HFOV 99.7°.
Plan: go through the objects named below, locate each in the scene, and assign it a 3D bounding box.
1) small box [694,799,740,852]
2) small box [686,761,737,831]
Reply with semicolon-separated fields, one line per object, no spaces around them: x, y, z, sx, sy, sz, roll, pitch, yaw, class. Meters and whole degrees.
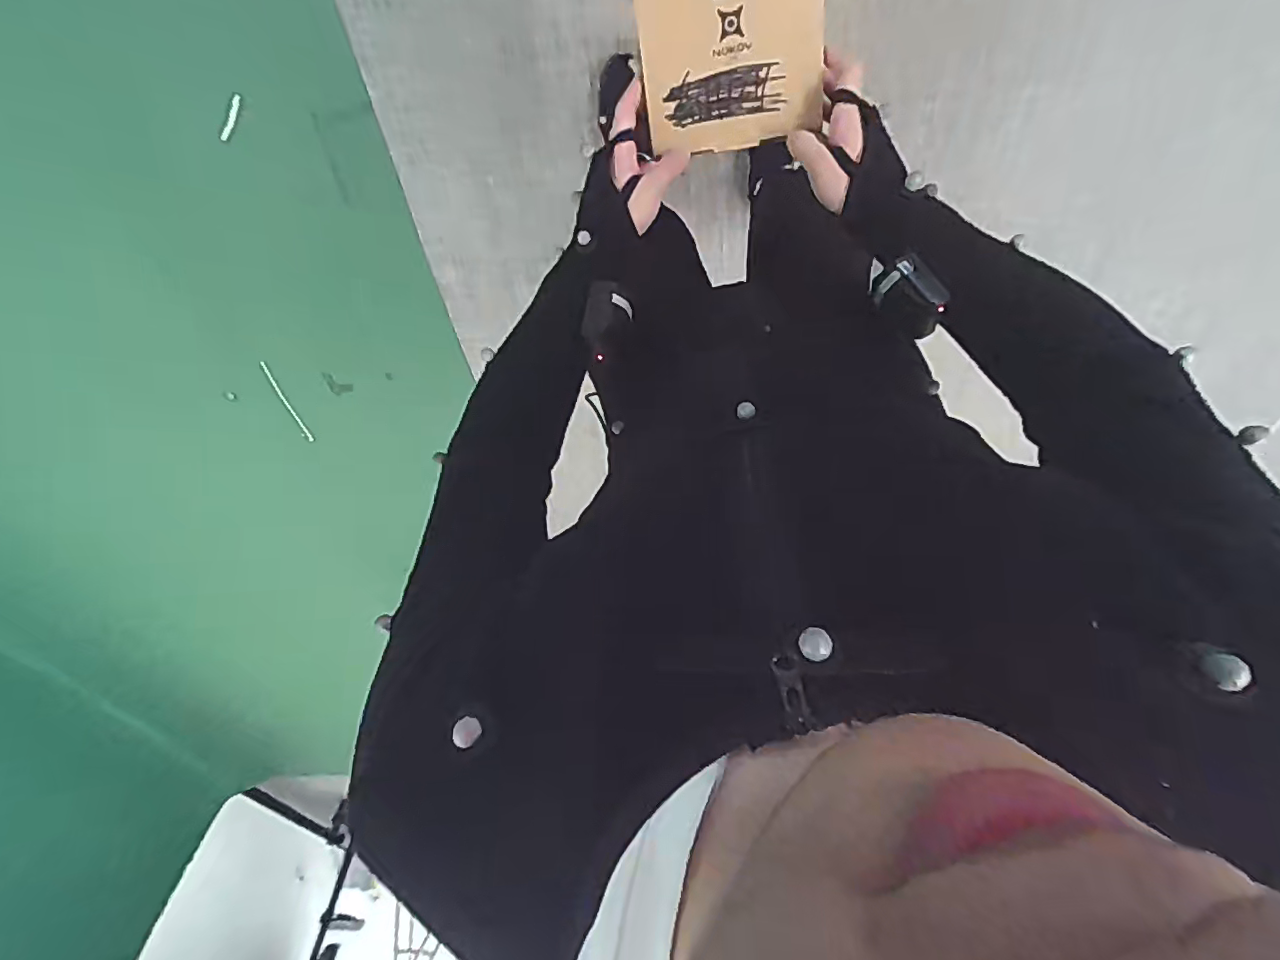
0.287;1.281;2.038;0.168;0.176;0.179;-4;132;5;small box
0.246;1.086;1.859;0.168;0.176;0.179;-4;133;7;small box
